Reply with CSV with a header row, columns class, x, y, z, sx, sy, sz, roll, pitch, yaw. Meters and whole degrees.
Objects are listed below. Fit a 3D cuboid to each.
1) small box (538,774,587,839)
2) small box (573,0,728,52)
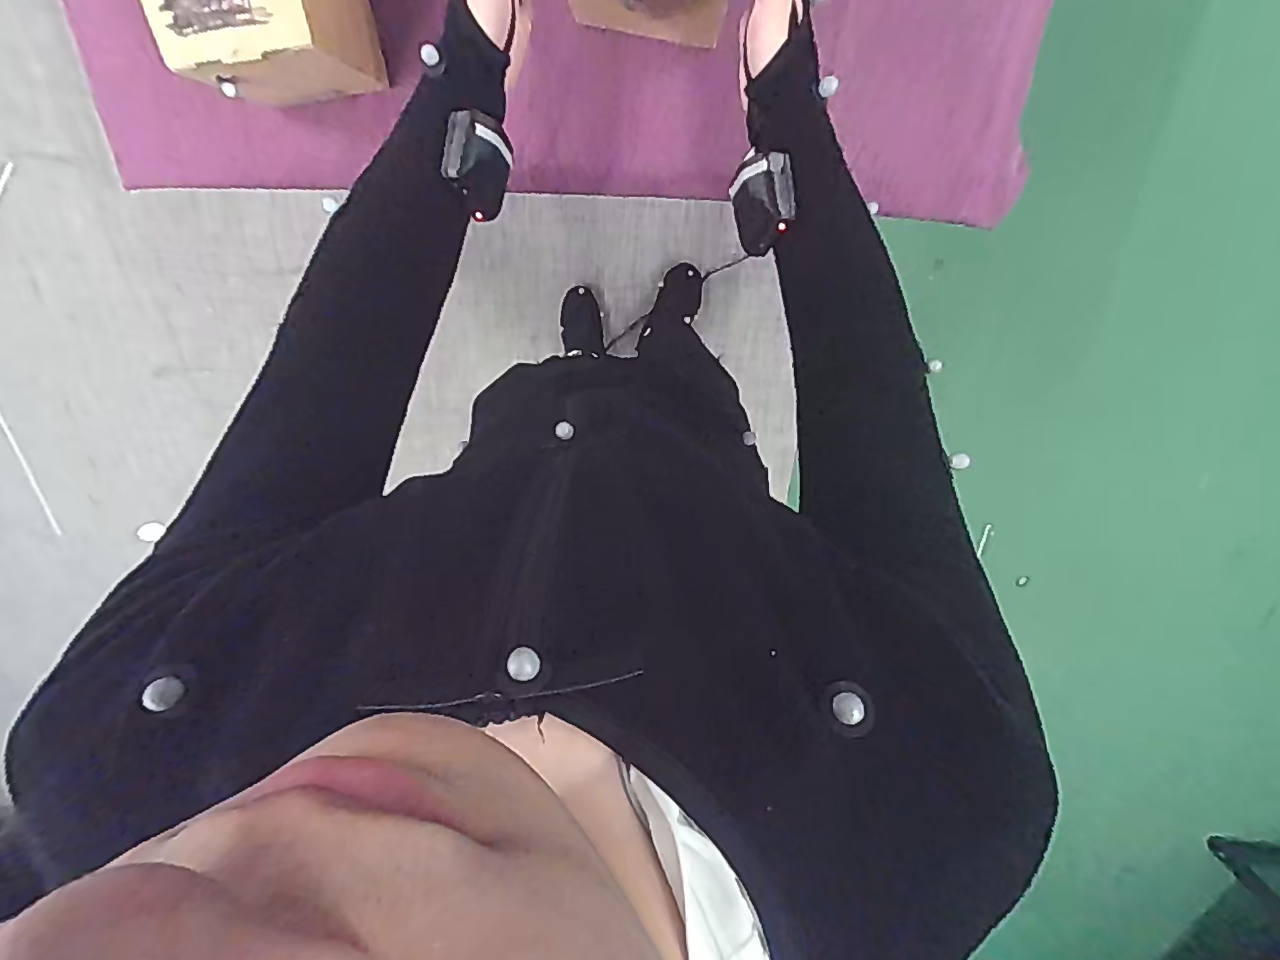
class,x,y,z,sx,sy,sz,roll,pitch,yaw
small box,-0.322,1.353,2.247,0.179,0.176,0.168,5,115,0
small box,0.018,-0.583,0.567,0.179,0.176,0.168,9,115,-2
